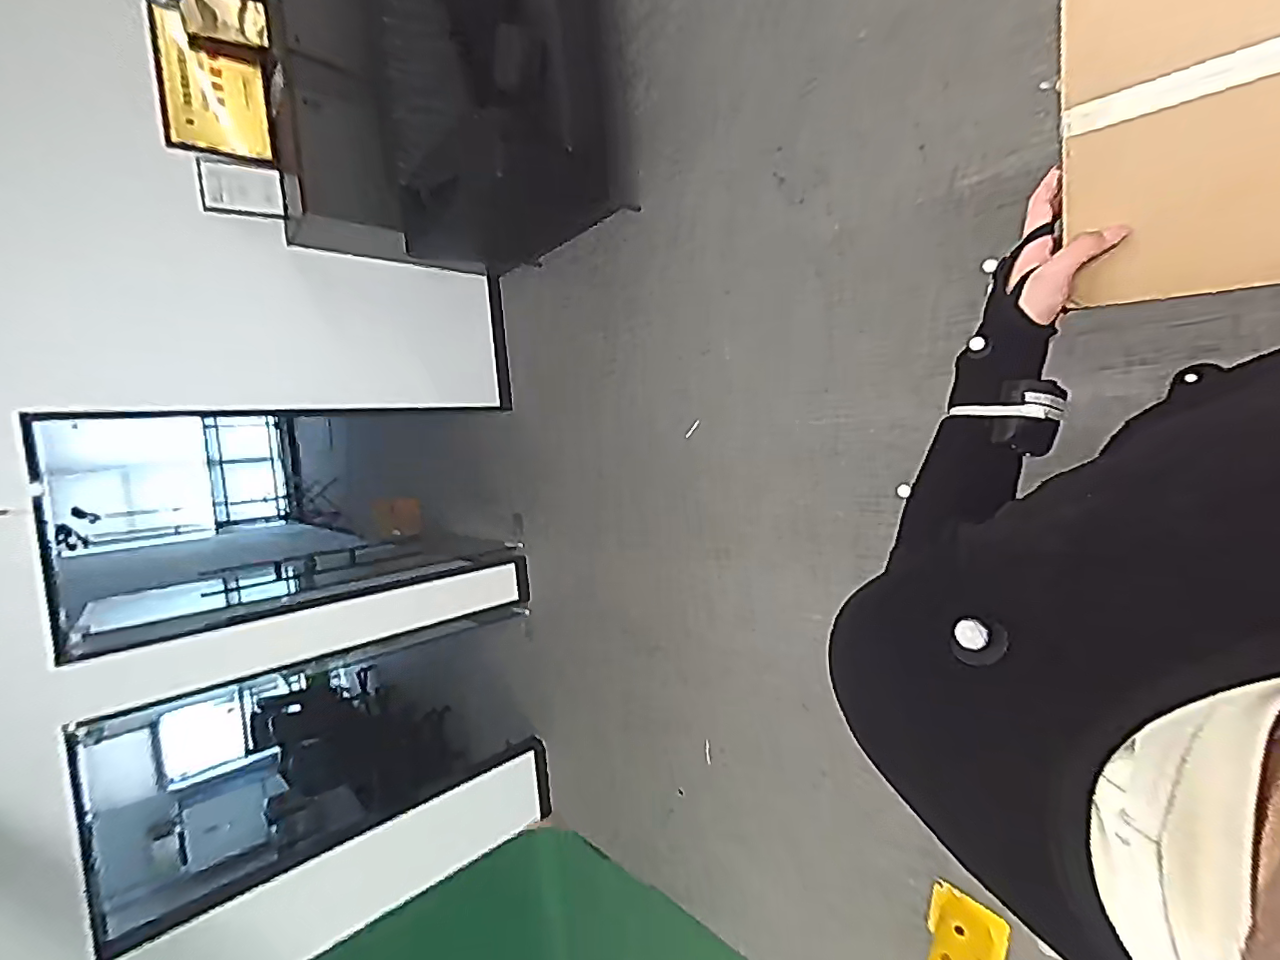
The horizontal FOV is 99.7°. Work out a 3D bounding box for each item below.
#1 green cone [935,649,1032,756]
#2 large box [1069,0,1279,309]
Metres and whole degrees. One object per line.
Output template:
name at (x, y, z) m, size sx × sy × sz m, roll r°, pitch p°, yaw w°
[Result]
green cone at (0.857, 0.615, 1.414) m, size 0.200 × 0.368 × 0.202 m, roll 7°, pitch 103°, yaw 48°
large box at (0.607, -0.347, 0.406) m, size 0.408 × 0.320 × 0.320 m, roll 5°, pitch 117°, yaw 48°
